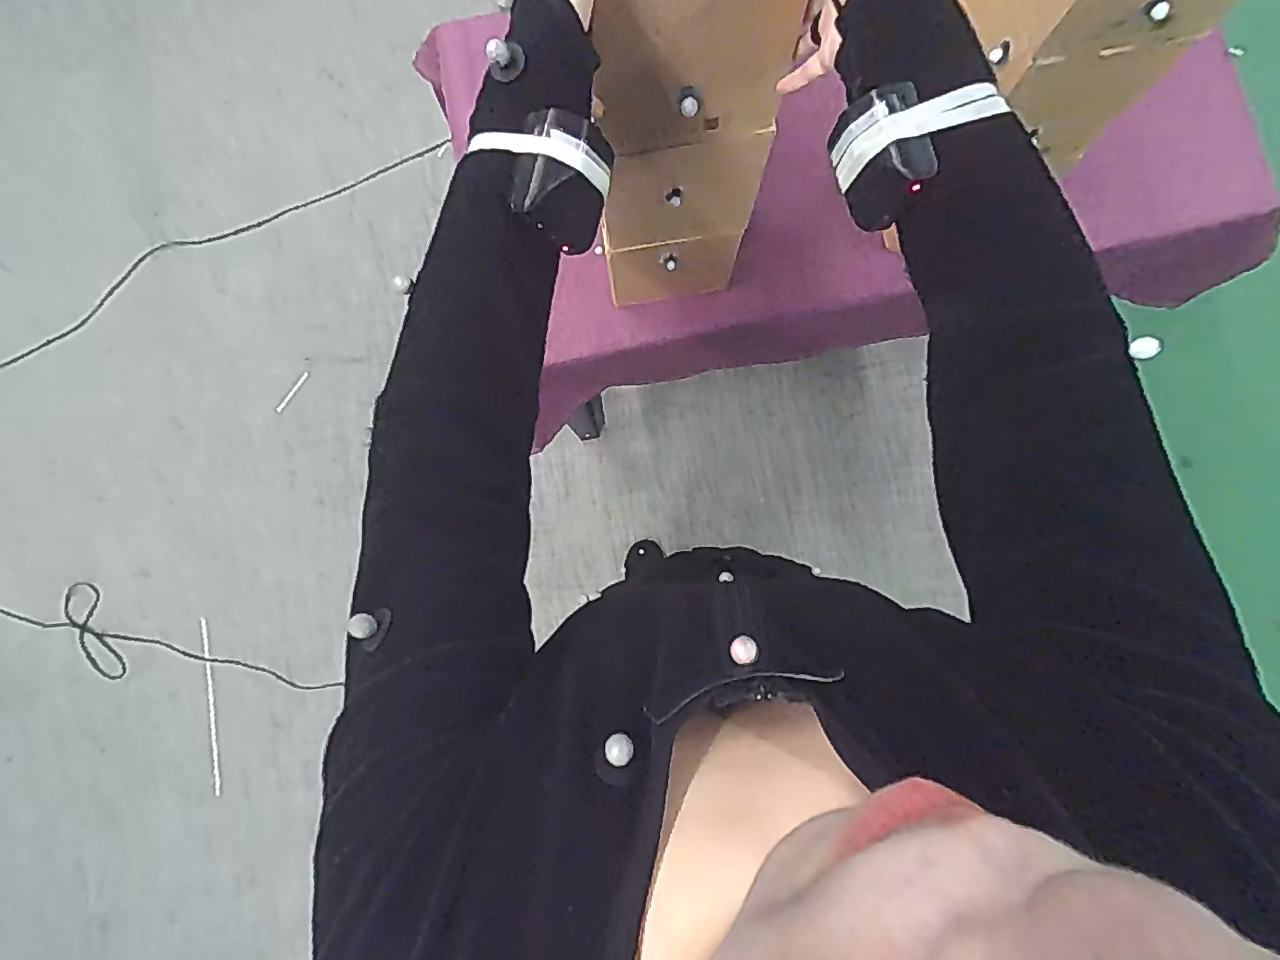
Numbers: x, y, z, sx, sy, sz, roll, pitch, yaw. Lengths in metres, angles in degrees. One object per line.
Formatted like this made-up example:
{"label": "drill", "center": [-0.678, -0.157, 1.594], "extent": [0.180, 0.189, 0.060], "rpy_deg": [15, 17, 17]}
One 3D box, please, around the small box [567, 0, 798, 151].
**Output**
{"label": "small box", "center": [0.021, -0.411, 0.435], "extent": [0.168, 0.176, 0.179], "rpy_deg": [-10, 85, 1]}

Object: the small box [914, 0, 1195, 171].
{"label": "small box", "center": [0.430, -0.484, 0.595], "extent": [0.168, 0.176, 0.179], "rpy_deg": [-9, 85, 1]}

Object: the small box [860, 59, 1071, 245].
{"label": "small box", "center": [0.438, -0.457, 0.756], "extent": [0.179, 0.176, 0.168], "rpy_deg": [-10, 84, 0]}

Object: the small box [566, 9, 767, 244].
{"label": "small box", "center": [0.027, -0.389, 0.598], "extent": [0.179, 0.176, 0.168], "rpy_deg": [-9, 85, 2]}

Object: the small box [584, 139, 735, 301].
{"label": "small box", "center": [0.026, -0.370, 0.761], "extent": [0.179, 0.176, 0.168], "rpy_deg": [-8, 85, 0]}
